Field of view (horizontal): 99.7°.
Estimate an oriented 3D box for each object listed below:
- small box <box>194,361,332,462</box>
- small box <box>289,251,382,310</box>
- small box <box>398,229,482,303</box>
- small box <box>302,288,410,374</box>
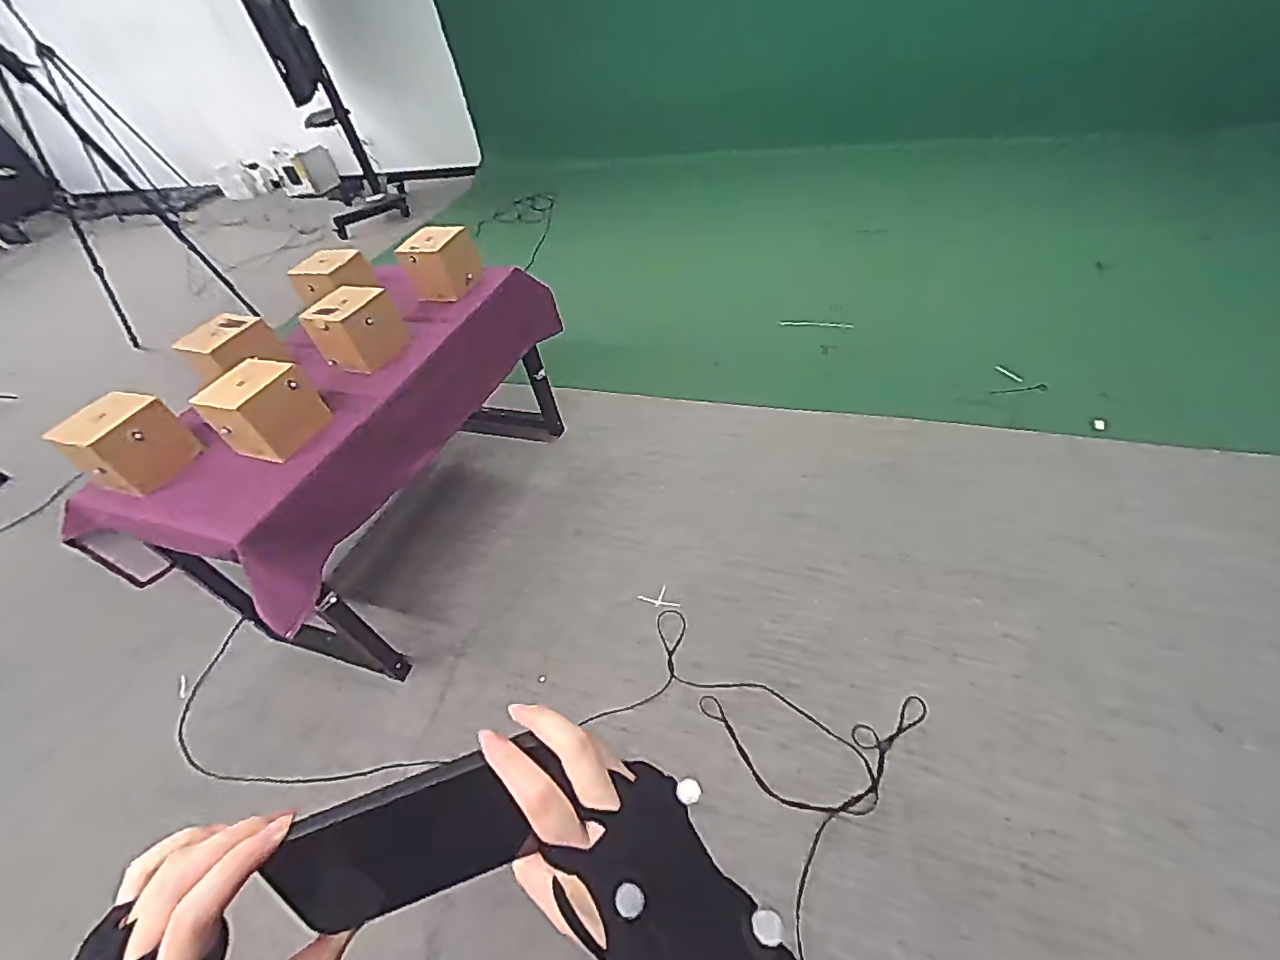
[{"bbox_3d":[-0.891,-0.163,1.296,0.168,0.176,0.179,10,48,21],"label":"small box"},{"bbox_3d":[-0.974,-0.623,1.754,0.179,0.176,0.168,7,49,18],"label":"small box"},{"bbox_3d":[-0.635,-0.693,1.750,0.168,0.176,0.179,8,49,20],"label":"small box"},{"bbox_3d":[-0.786,-0.417,1.518,0.168,0.176,0.179,12,49,22],"label":"small box"}]
